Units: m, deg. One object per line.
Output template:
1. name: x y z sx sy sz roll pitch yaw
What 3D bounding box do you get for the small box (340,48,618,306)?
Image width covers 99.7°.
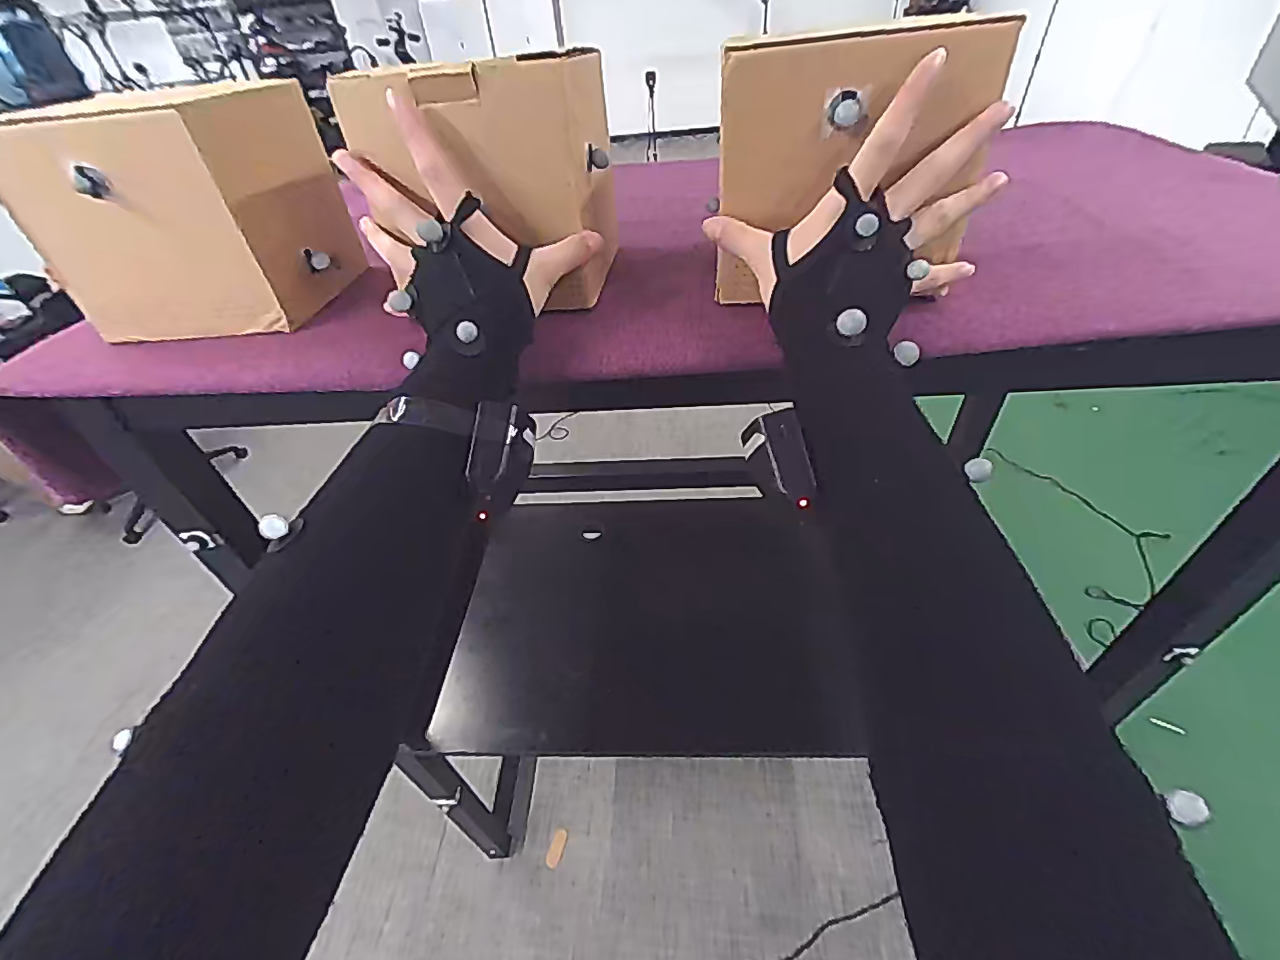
1. small box: -0.114 -0.262 0.476 0.168 0.176 0.179 -1 40 6

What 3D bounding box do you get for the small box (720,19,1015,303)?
1. small box: 0.156 -0.259 0.445 0.179 0.176 0.168 -1 40 8

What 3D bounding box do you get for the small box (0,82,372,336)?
1. small box: -0.381 -0.239 0.483 0.179 0.176 0.168 -2 41 4
